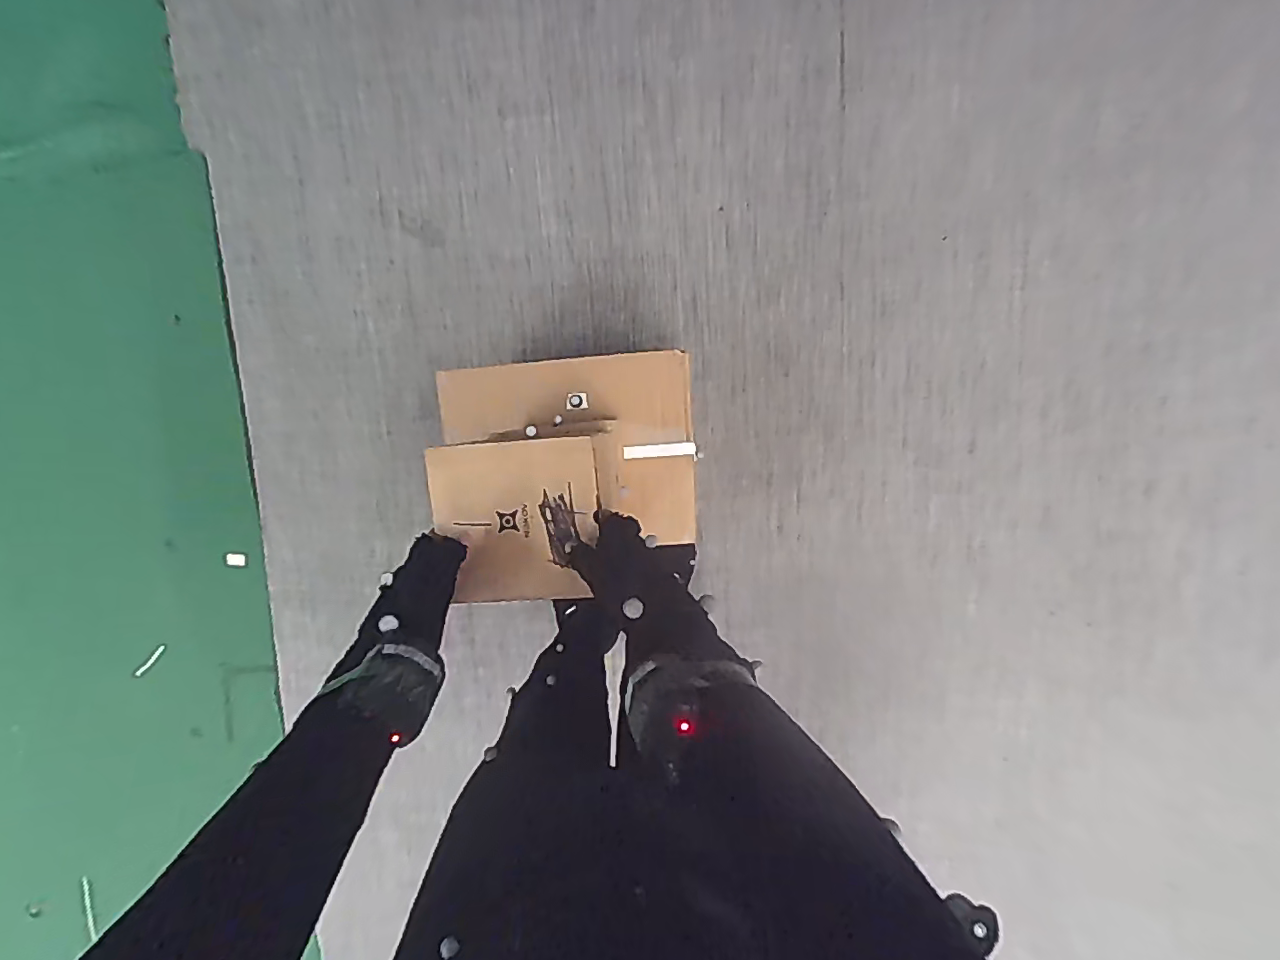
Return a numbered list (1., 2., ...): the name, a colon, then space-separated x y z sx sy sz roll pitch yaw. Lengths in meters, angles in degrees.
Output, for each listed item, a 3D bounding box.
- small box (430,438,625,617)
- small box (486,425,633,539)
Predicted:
1. small box: -0.113 0.043 0.626 0.179 0.176 0.168 -7 96 4
2. small box: -0.106 0.017 0.794 0.168 0.176 0.179 -5 98 7
